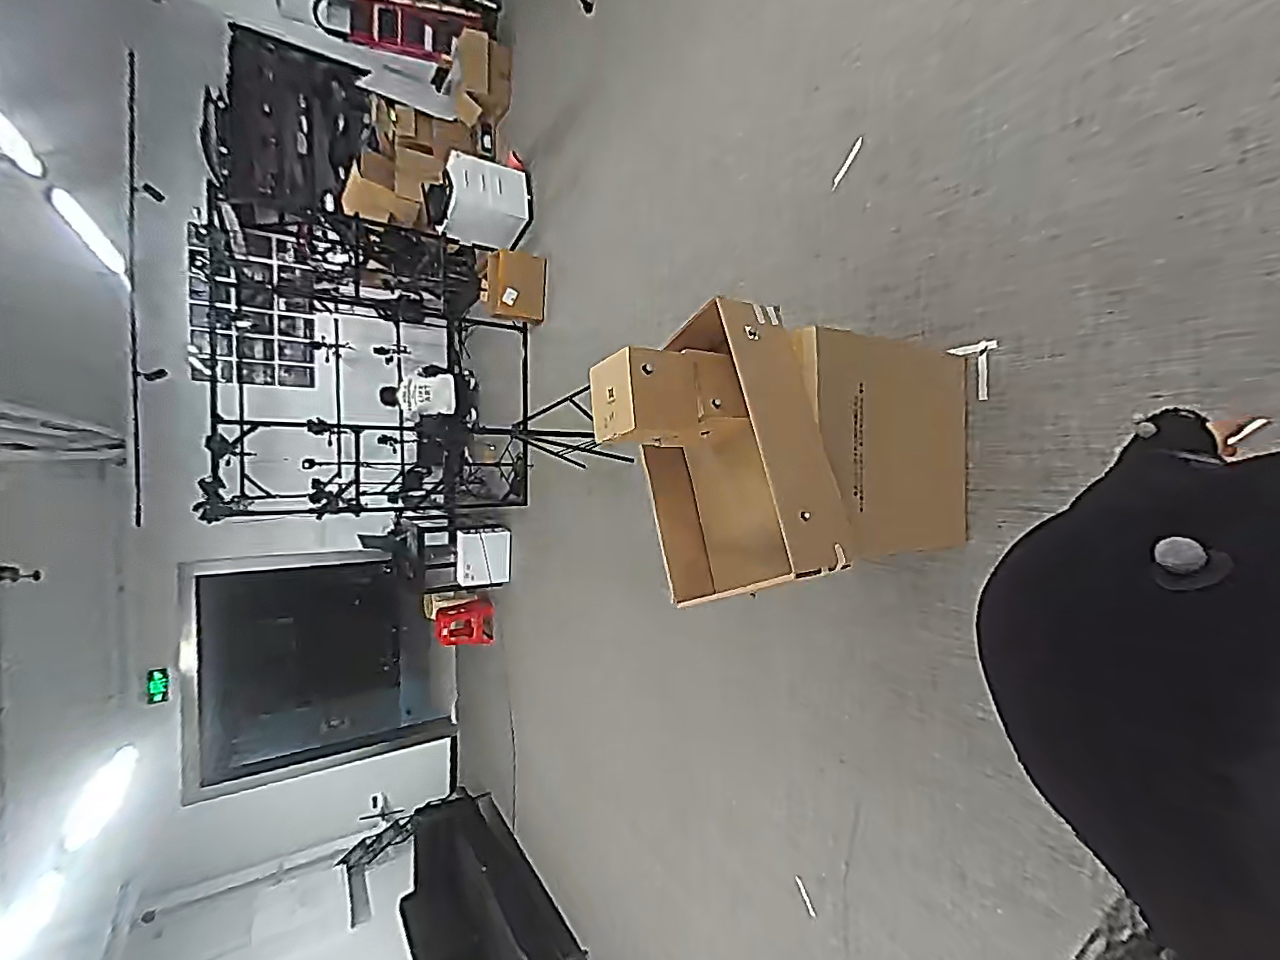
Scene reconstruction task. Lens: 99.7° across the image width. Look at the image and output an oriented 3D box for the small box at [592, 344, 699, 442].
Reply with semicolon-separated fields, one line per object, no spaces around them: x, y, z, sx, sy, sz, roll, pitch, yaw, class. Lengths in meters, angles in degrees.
0.011;-0.182;1.183;0.168;0.176;0.179;-12;82;56;small box
